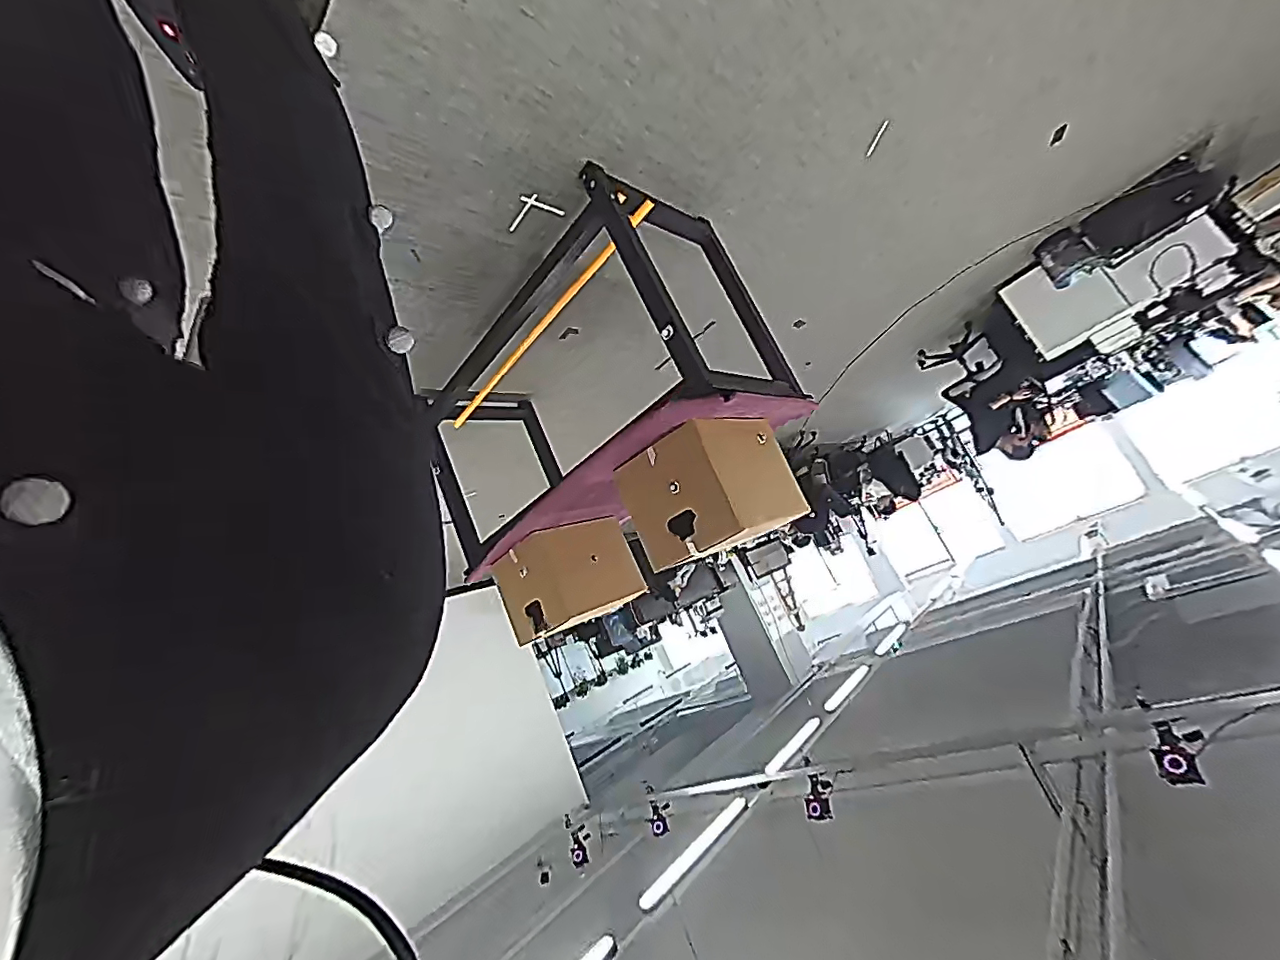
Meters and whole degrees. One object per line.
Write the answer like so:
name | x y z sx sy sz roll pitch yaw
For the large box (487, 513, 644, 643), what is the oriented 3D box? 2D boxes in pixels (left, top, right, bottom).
large box | -0.269 0.342 1.955 0.320 0.320 0.408 -34 164 37
